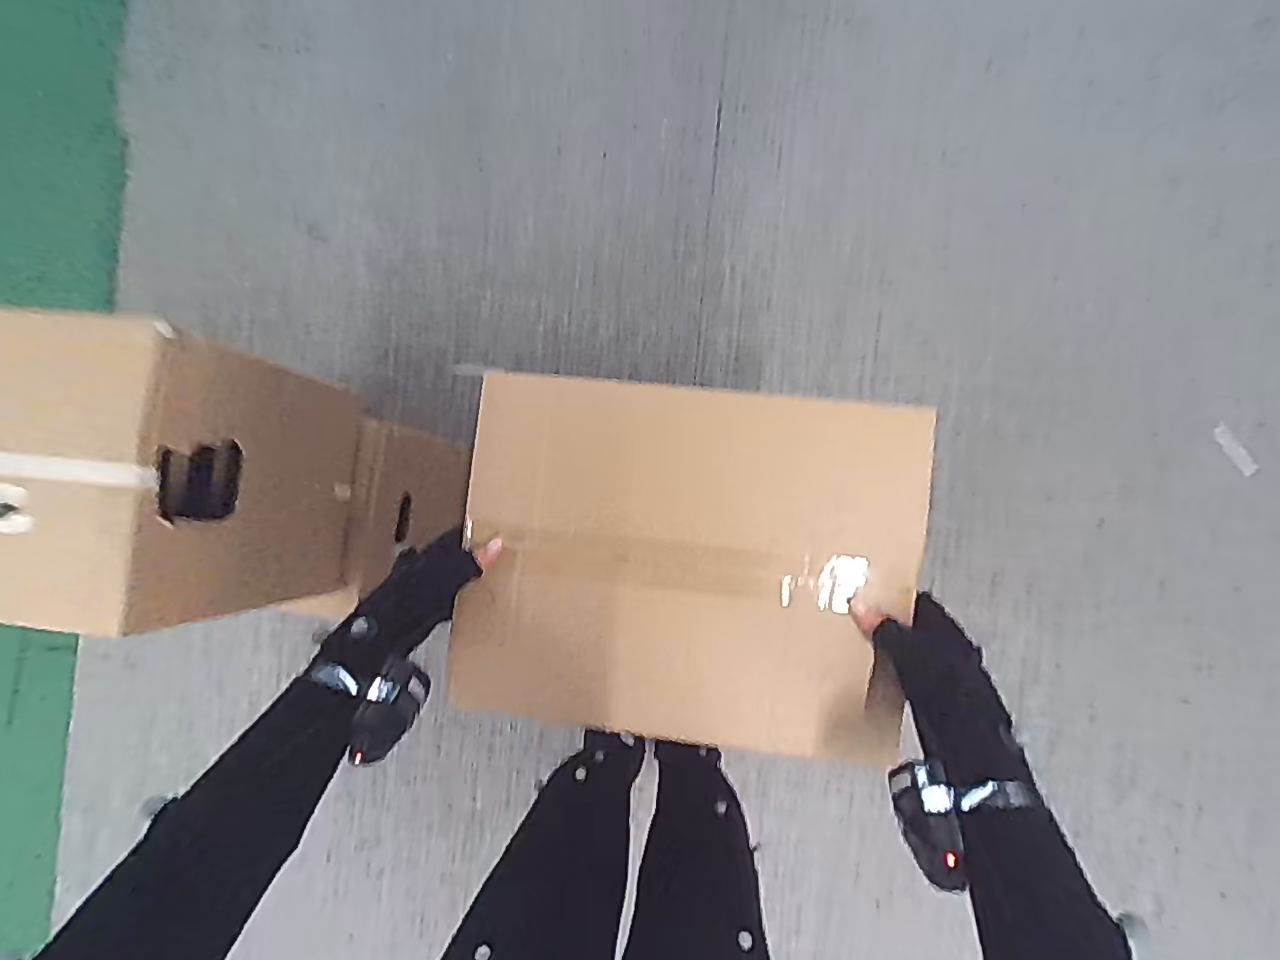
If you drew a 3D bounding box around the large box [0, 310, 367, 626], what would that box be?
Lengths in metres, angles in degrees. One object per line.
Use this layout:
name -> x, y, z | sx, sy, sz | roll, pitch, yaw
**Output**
large box -> -0.649, -0.010, 0.702 | 0.408, 0.320, 0.320 | 6, 85, 6
